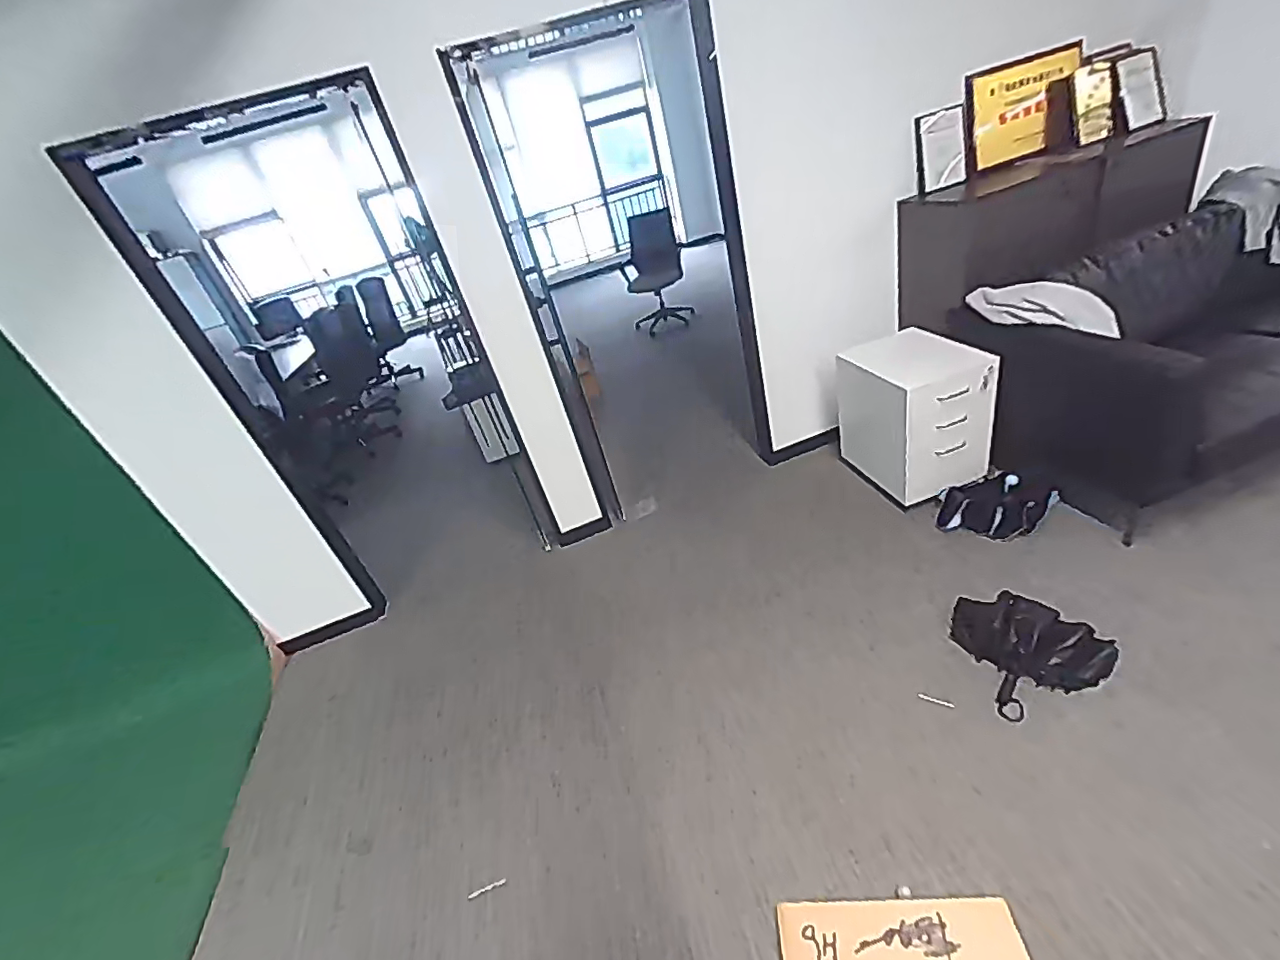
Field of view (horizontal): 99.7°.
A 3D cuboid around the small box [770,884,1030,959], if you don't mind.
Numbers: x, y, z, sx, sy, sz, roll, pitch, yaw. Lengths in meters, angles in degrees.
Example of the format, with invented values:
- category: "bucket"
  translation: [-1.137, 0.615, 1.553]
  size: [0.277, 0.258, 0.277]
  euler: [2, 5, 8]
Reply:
- category: "small box"
  translation: [0.189, 0.416, 0.382]
  size: [0.168, 0.176, 0.179]
  euler: [-6, 38, 7]
